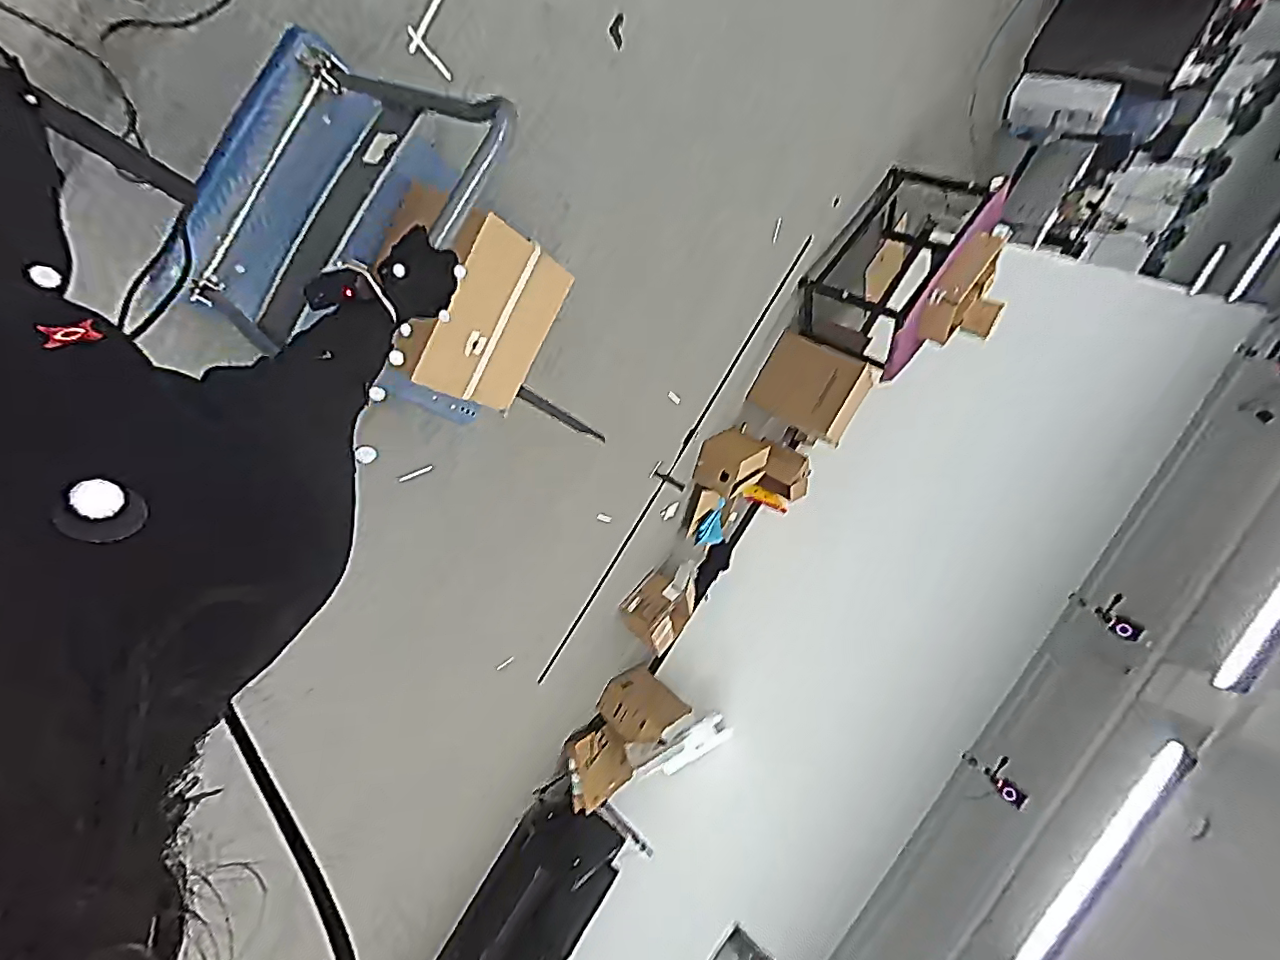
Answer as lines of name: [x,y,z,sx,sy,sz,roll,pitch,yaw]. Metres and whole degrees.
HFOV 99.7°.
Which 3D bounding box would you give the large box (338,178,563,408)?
large box: [-0.470,-0.452,1.353,0.408,0.320,0.320,-60,152,8]
